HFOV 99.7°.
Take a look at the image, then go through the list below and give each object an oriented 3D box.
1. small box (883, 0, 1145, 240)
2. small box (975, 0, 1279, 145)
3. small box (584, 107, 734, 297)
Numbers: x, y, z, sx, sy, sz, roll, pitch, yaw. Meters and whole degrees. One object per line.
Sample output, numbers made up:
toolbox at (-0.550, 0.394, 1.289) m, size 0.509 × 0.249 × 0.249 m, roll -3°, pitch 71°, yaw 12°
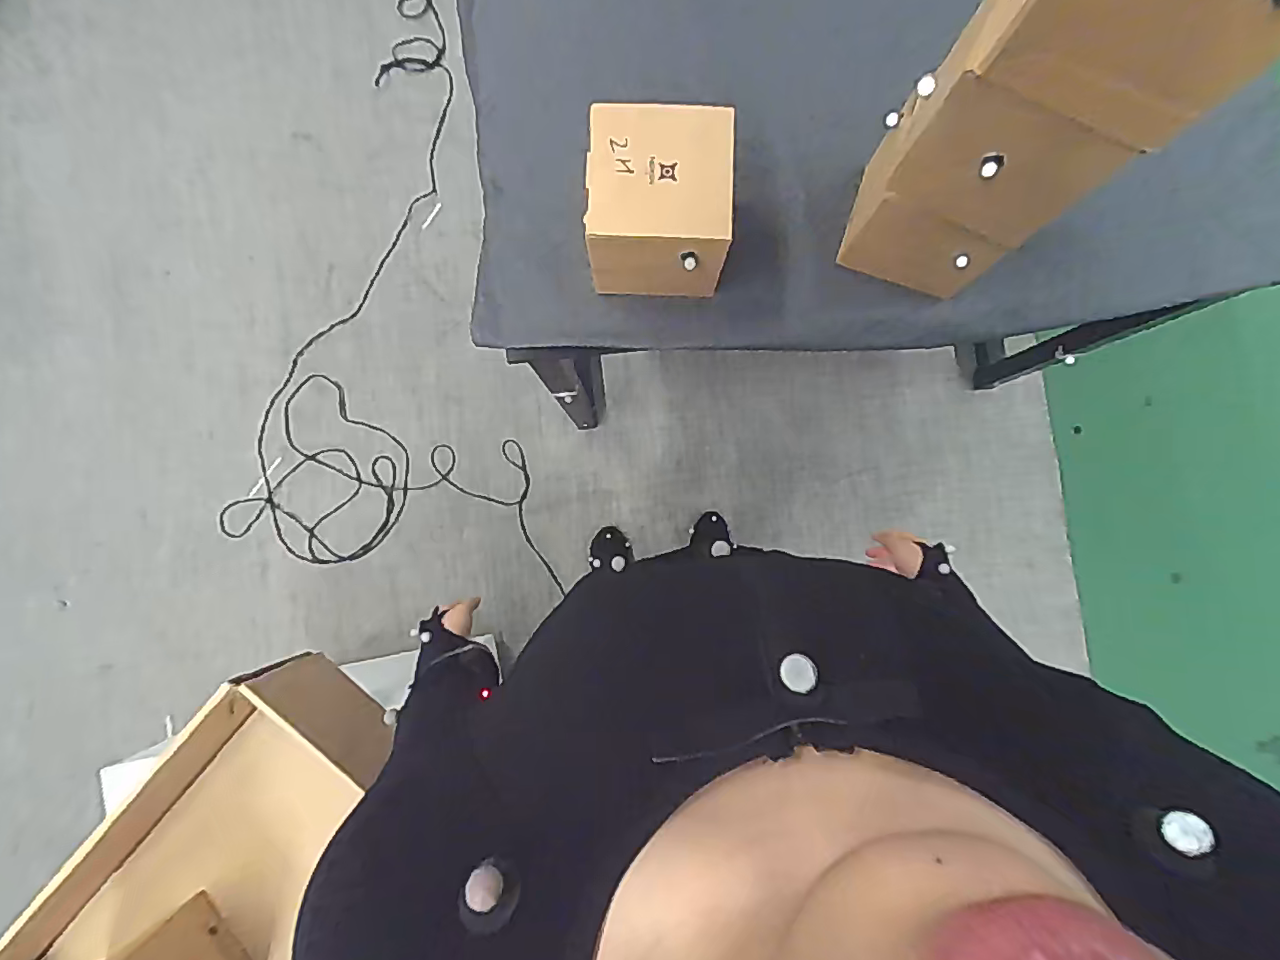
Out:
small box at (0.391, -0.381, 0.555) m, size 0.179 × 0.176 × 0.168 m, roll 27°, pitch 86°, yaw 3°
small box at (0.393, -0.392, 0.393) m, size 0.179 × 0.176 × 0.168 m, roll 26°, pitch 86°, yaw 2°
small box at (0.023, -0.356, 0.721) m, size 0.179 × 0.176 × 0.168 m, roll 2°, pitch 86°, yaw 1°
